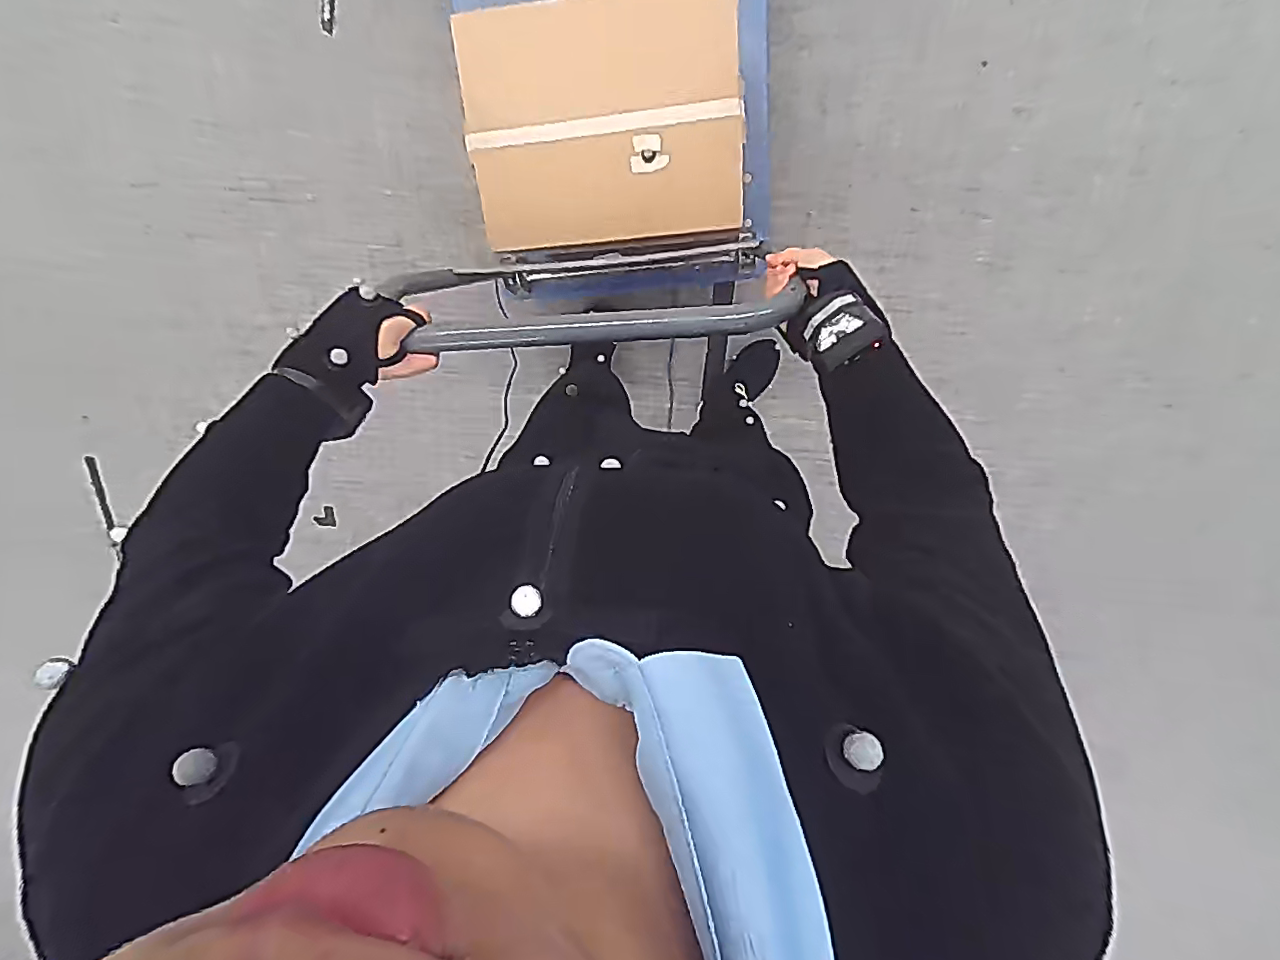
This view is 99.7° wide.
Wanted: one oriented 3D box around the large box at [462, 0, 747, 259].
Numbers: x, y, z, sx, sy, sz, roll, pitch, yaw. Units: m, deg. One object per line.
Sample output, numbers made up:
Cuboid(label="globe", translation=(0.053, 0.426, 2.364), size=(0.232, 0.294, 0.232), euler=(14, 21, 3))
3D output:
Cuboid(label="large box", translation=(-0.036, -0.573, 0.941), size=(0.408, 0.320, 0.320), euler=(-3, 112, 6))
